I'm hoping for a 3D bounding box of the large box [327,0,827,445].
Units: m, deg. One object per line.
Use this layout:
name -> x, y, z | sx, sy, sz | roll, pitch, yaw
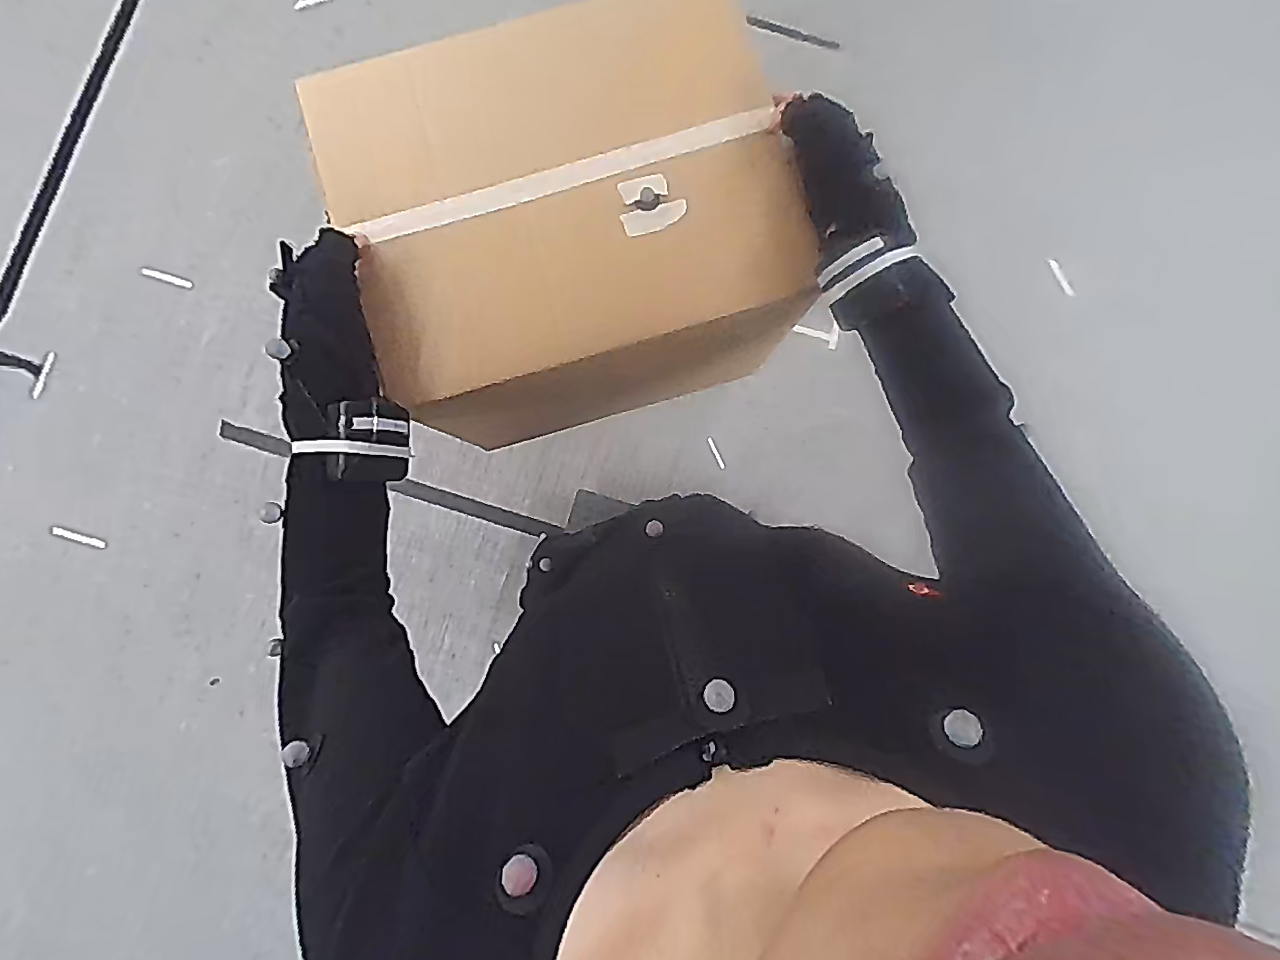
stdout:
large box -> -0.063, -0.261, 0.644 | 0.408, 0.320, 0.320 | -16, 87, -2
